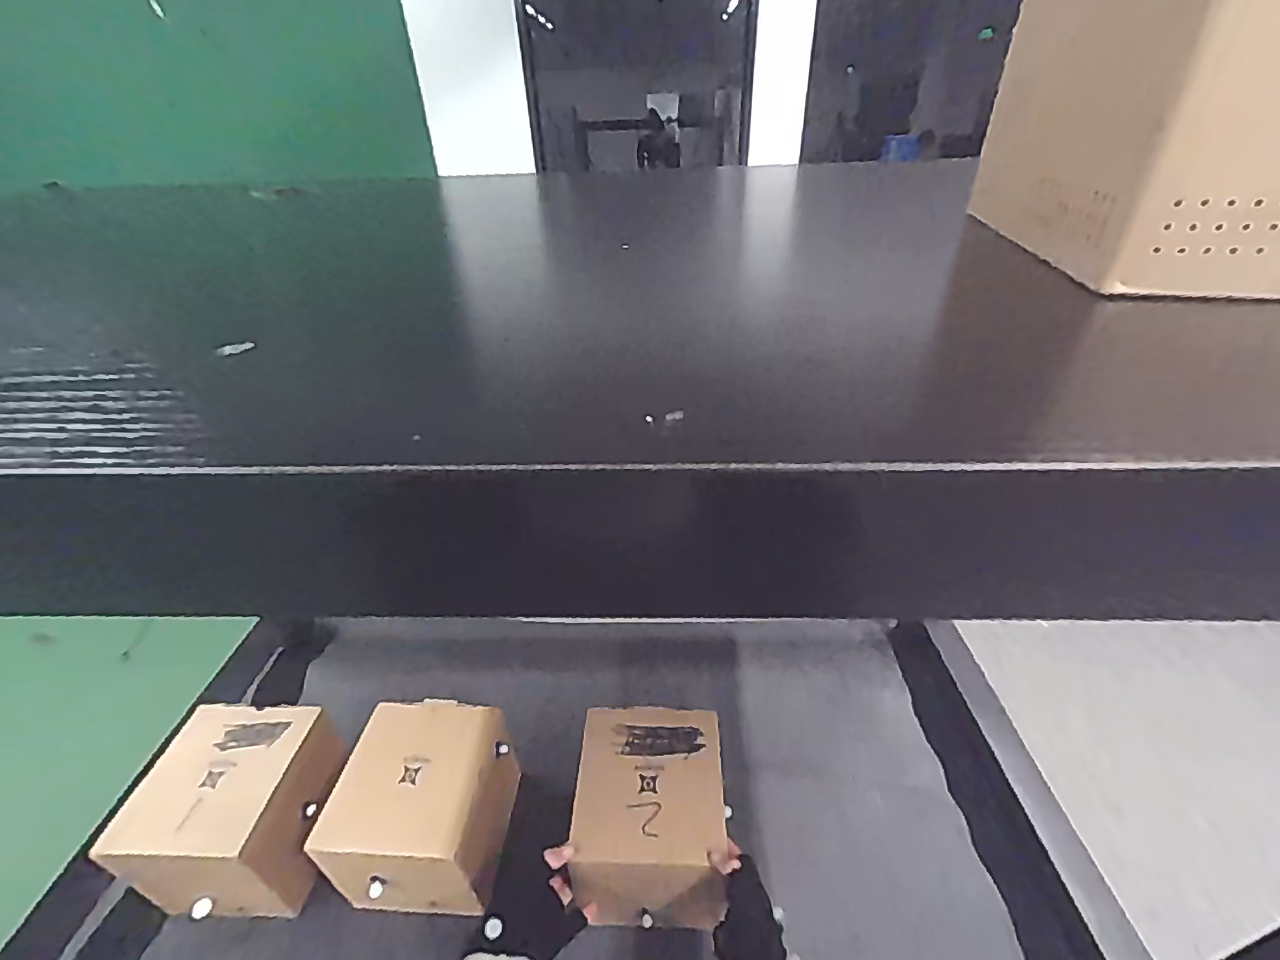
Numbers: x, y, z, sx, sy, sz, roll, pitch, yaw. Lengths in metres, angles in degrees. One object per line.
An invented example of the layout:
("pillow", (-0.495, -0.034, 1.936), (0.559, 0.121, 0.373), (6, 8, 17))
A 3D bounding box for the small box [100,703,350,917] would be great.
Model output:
("small box", (-0.491, 0.411, 0.684), (0.168, 0.176, 0.179), (0, 34, 2))

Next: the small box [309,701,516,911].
("small box", (-0.264, 0.408, 0.681), (0.168, 0.176, 0.179), (1, 33, 4))
